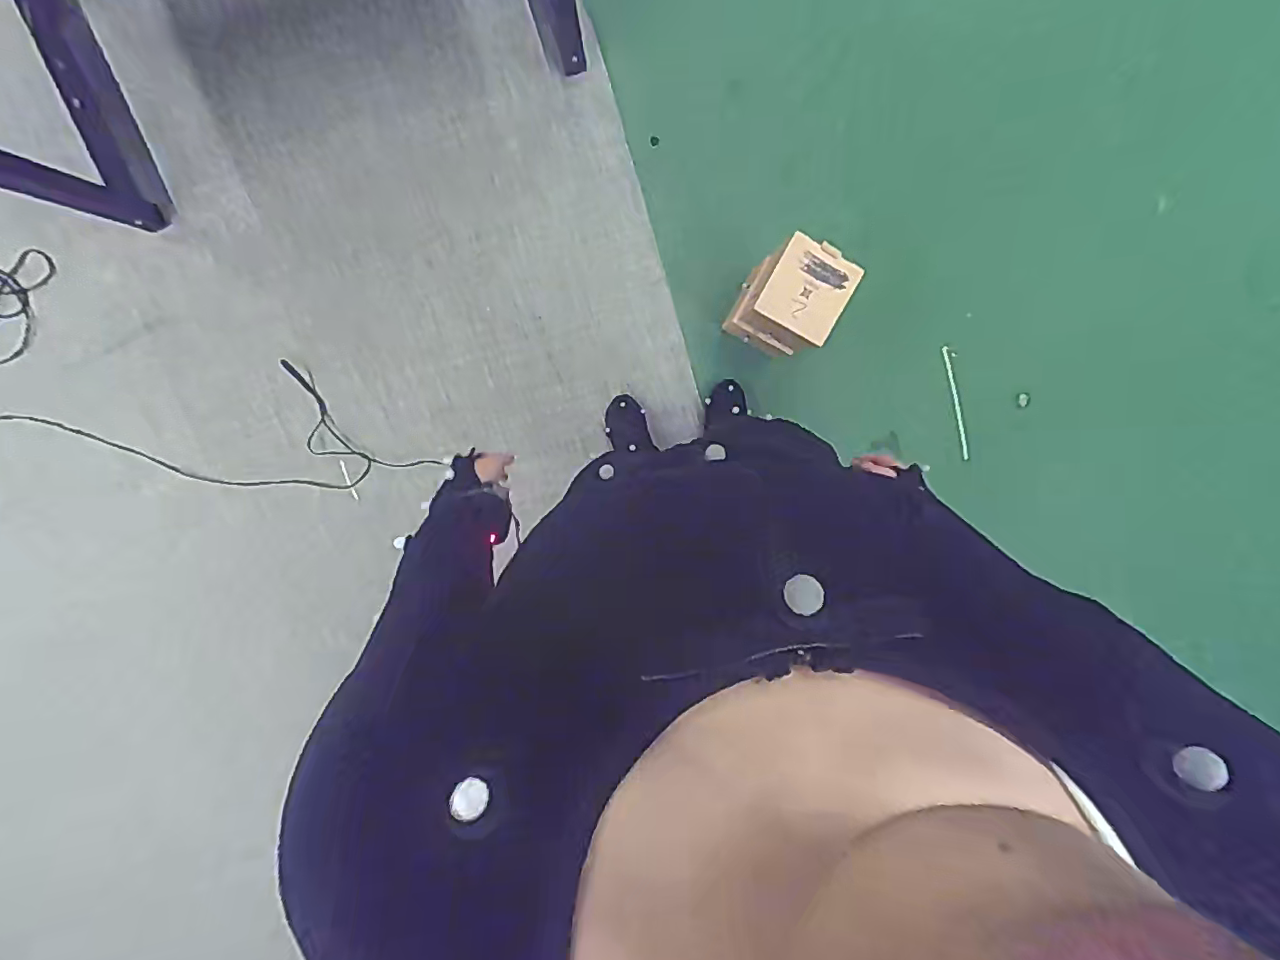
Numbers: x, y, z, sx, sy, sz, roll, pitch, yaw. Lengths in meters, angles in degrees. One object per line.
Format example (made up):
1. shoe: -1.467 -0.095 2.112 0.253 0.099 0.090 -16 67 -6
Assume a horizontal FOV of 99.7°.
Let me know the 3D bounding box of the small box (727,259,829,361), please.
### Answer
1. small box: 0.327 -0.406 1.331 0.168 0.176 0.179 27 98 -4
